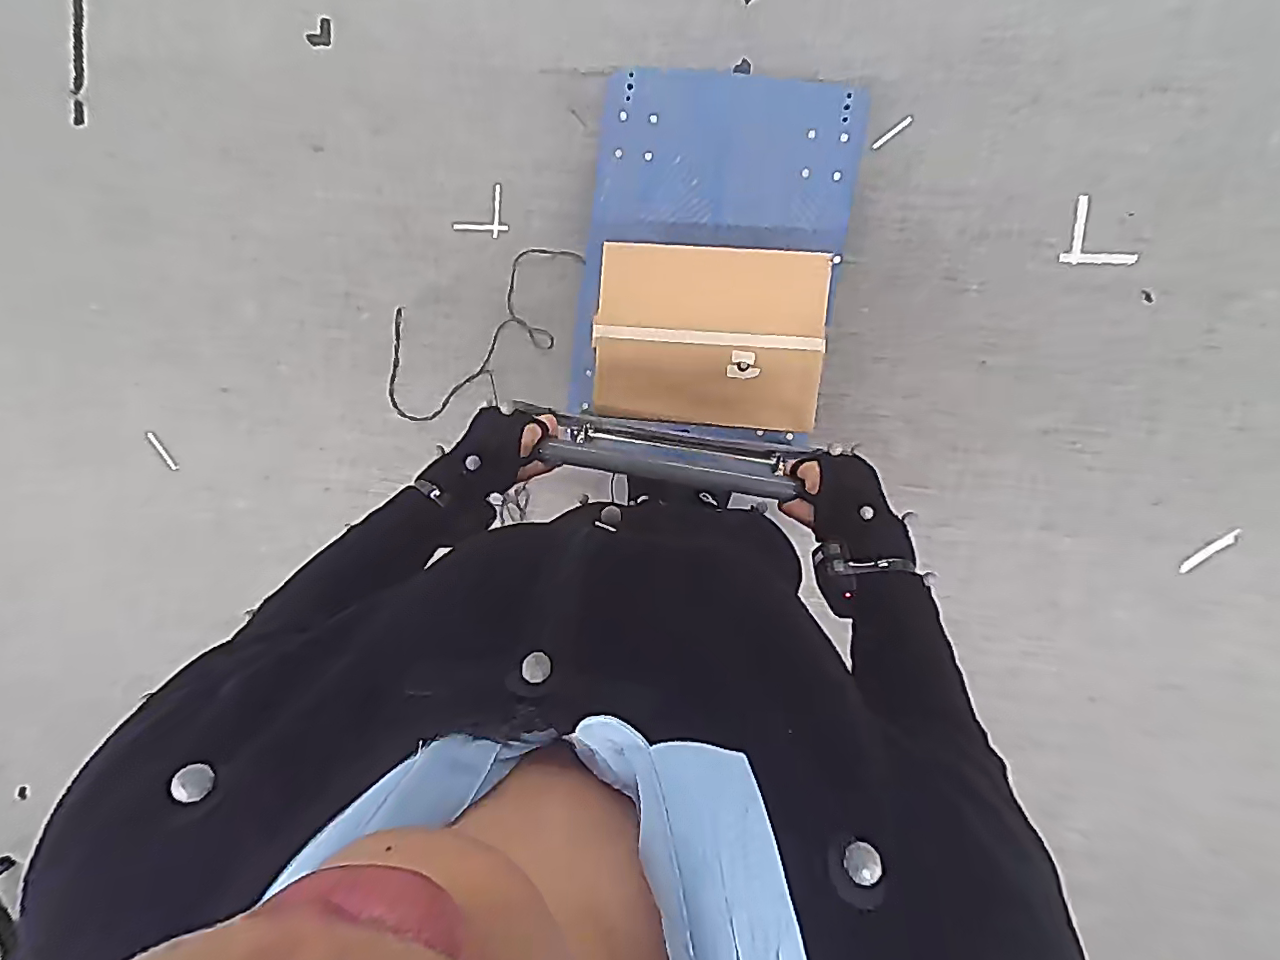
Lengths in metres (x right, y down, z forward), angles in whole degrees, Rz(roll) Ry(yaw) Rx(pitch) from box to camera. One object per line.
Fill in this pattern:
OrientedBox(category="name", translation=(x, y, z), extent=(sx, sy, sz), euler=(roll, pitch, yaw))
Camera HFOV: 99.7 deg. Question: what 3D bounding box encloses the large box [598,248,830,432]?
OrientedBox(category="large box", translation=(0.137, -0.268, 1.125), extent=(0.408, 0.320, 0.320), euler=(5, 97, 4))
